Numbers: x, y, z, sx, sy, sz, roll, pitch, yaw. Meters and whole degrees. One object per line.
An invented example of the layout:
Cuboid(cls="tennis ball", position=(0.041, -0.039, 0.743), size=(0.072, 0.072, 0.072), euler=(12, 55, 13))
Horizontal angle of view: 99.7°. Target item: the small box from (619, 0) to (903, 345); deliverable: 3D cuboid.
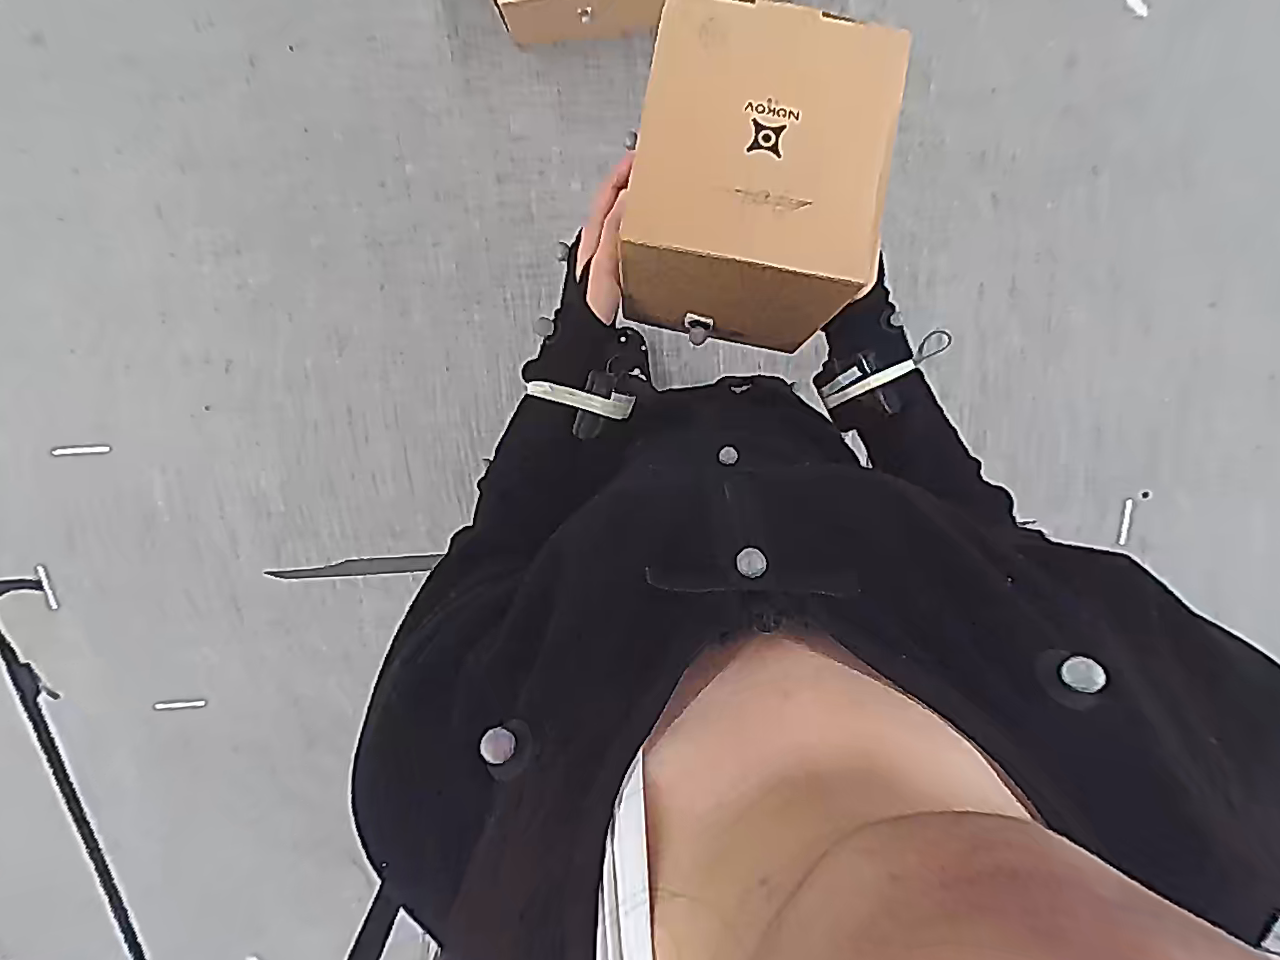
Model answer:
Cuboid(cls="small box", position=(0.079, -0.227, 0.433), size=(0.168, 0.176, 0.179), euler=(10, 88, 0))
